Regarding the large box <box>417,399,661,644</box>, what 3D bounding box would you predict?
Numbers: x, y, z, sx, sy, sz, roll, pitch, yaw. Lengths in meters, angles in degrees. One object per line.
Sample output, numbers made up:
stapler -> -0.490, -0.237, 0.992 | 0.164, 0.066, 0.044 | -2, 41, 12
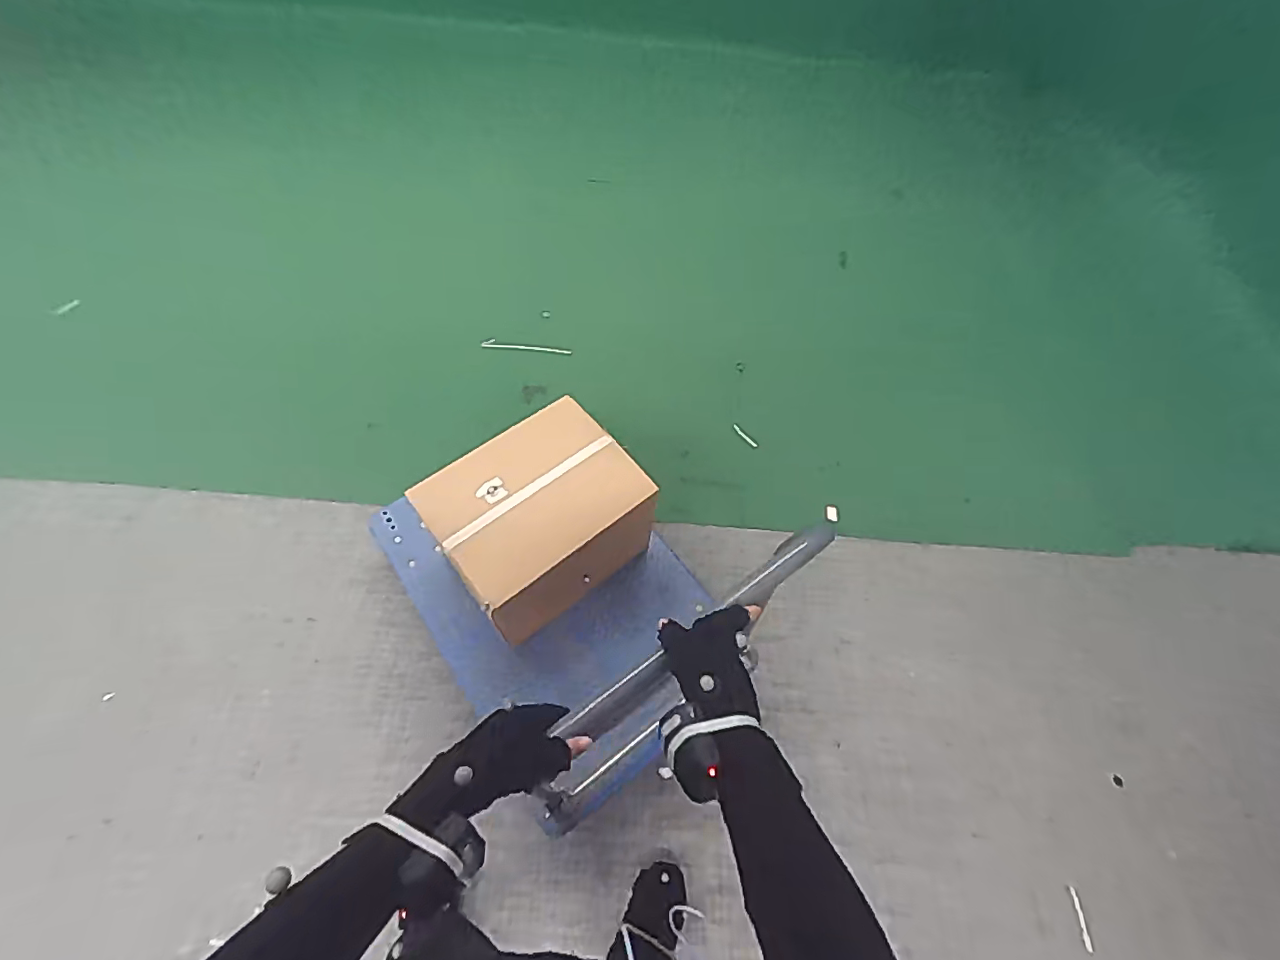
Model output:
large box -> -0.207, 0.098, 1.224 | 0.408, 0.320, 0.320 | -36, 68, -21
